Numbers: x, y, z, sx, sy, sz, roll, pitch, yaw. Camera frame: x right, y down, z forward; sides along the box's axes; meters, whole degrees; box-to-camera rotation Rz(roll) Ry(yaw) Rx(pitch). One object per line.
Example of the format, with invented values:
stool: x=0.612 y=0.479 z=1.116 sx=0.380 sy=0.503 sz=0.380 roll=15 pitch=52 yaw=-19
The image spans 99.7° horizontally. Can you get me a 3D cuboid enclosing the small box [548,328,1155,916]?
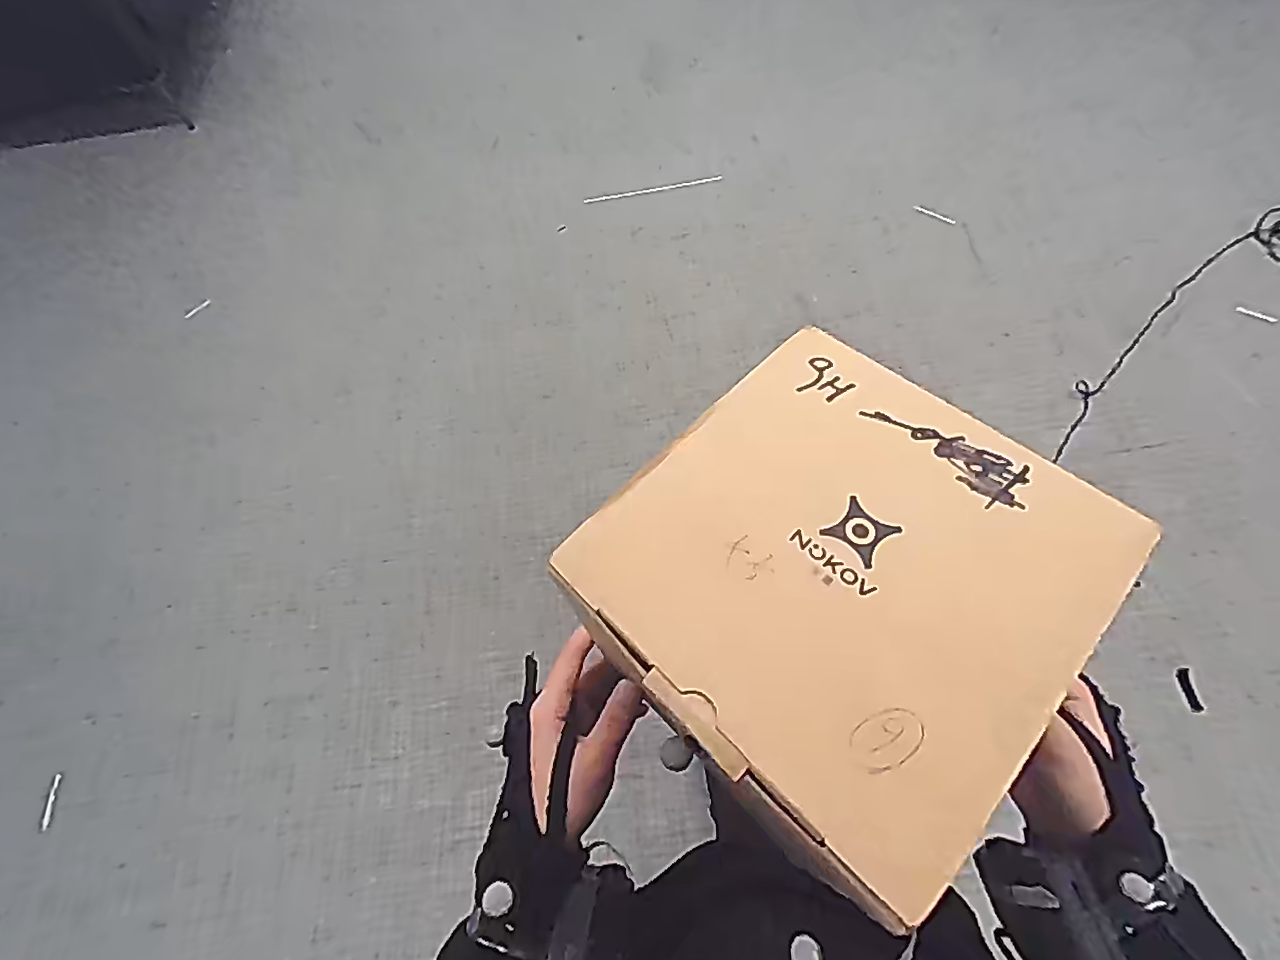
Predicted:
small box: x=0.086 y=0.066 z=0.280 sx=0.179 sy=0.176 sz=0.168 roll=-42 pitch=64 yaw=-17
